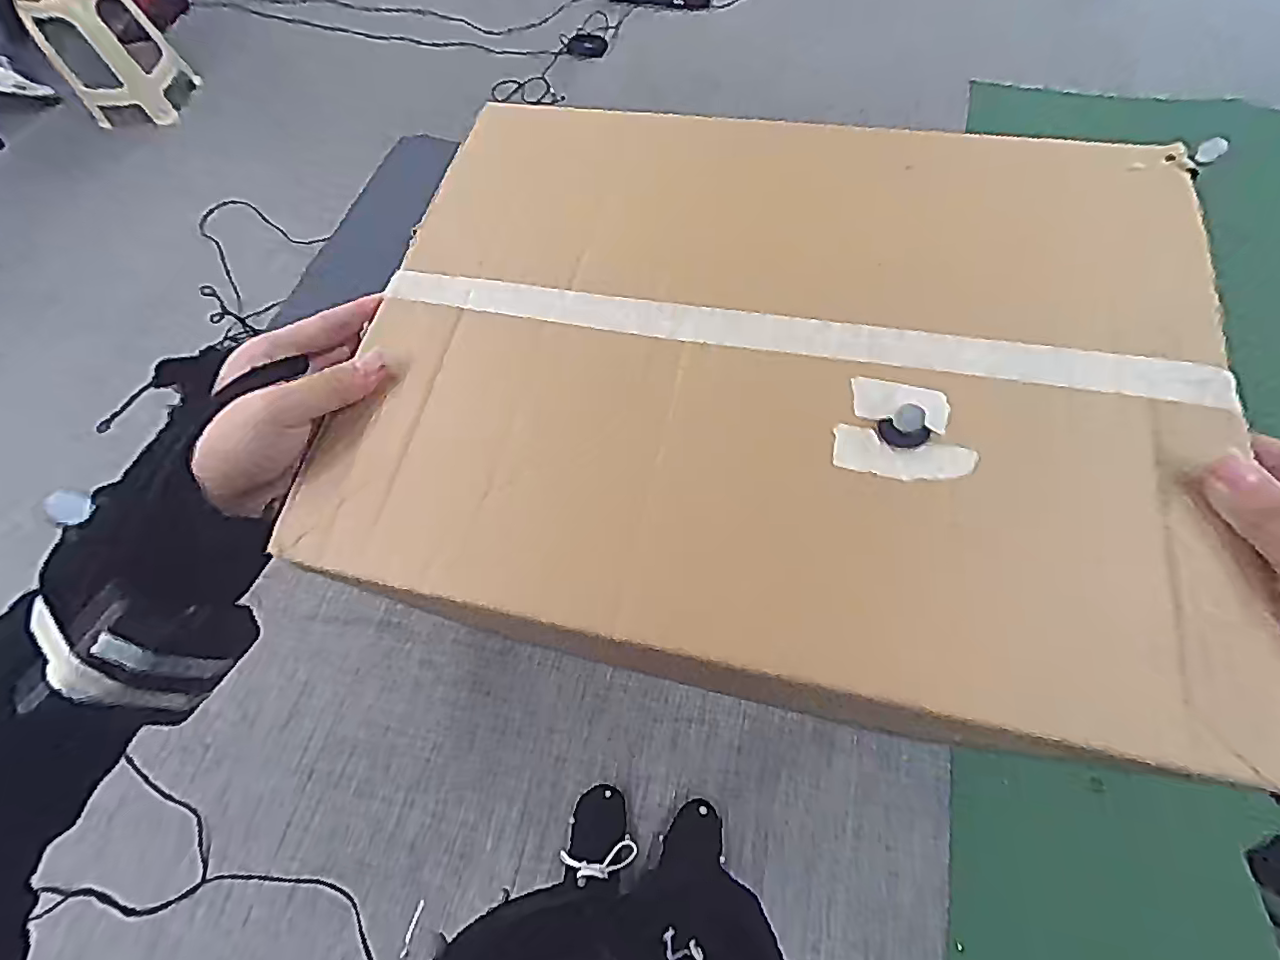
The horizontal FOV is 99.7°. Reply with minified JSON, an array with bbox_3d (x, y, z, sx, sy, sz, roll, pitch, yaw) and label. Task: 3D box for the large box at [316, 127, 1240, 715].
[{"bbox_3d":[0.074,-0.019,0.424,0.408,0.320,0.320,10,69,9],"label":"large box"}]
